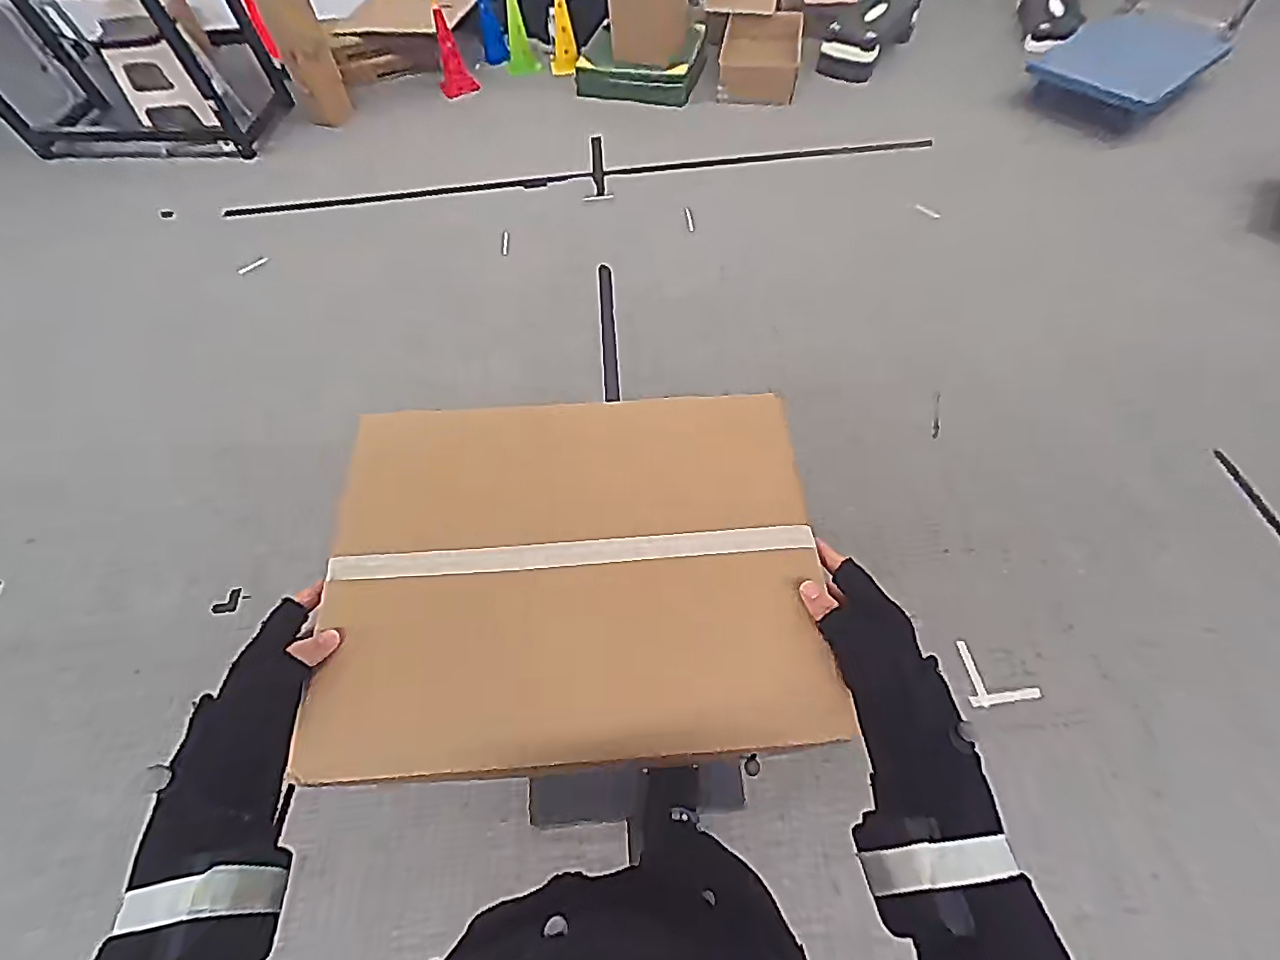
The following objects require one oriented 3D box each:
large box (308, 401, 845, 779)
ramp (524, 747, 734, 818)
[{"bbox_3d":[-0.054,0.136,0.597,0.408,0.320,0.320,-3,61,-3],"label":"large box"},{"bbox_3d":[-0.063,0.287,1.413,0.509,0.206,0.991,-6,59,-3],"label":"ramp"}]
